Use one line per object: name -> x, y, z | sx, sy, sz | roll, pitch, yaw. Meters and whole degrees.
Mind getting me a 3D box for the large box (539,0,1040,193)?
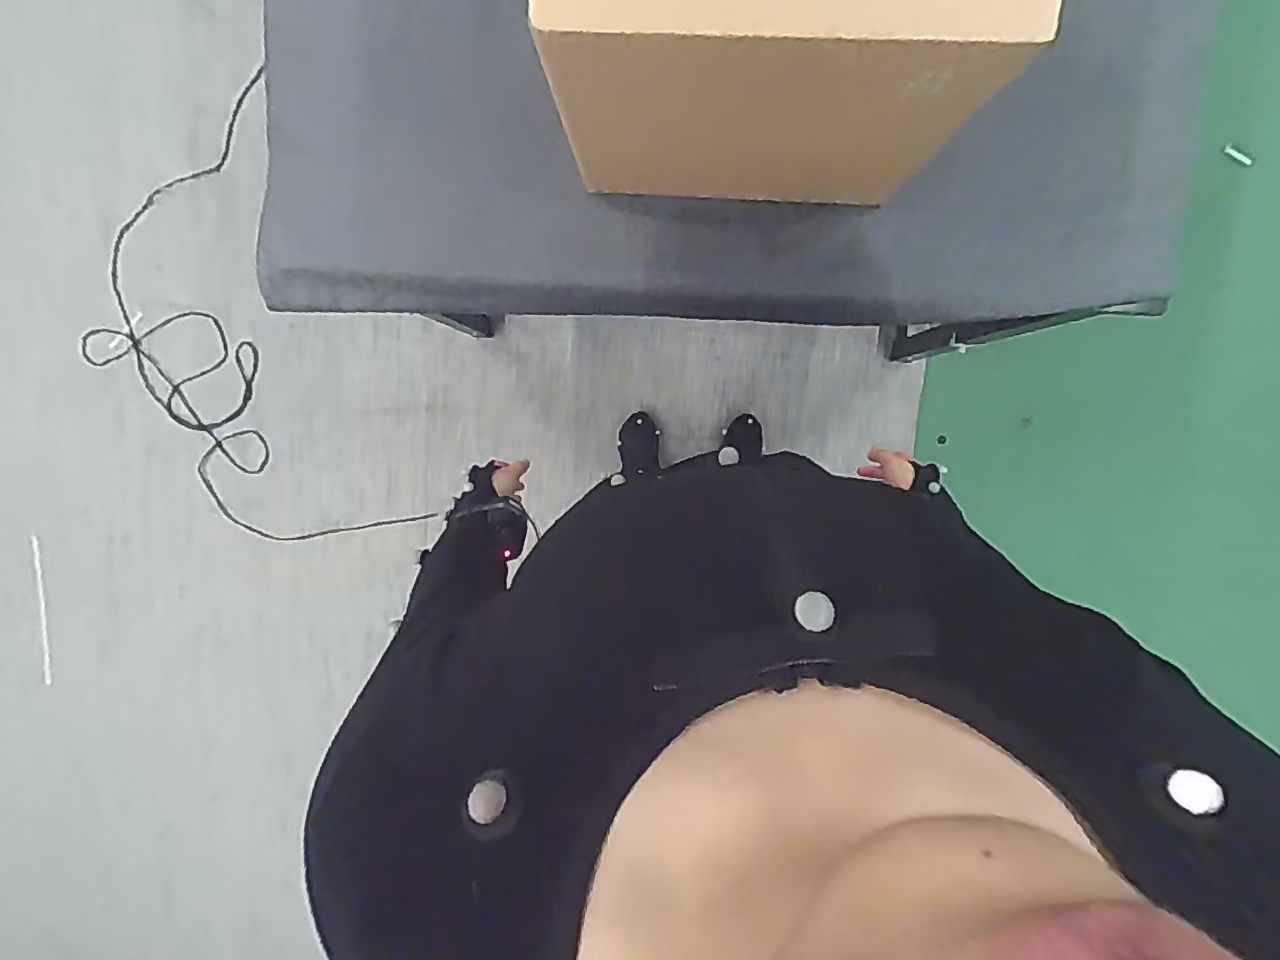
large box -> 0.124, -0.522, 0.564 | 0.408, 0.320, 0.320 | 3, 97, 2
